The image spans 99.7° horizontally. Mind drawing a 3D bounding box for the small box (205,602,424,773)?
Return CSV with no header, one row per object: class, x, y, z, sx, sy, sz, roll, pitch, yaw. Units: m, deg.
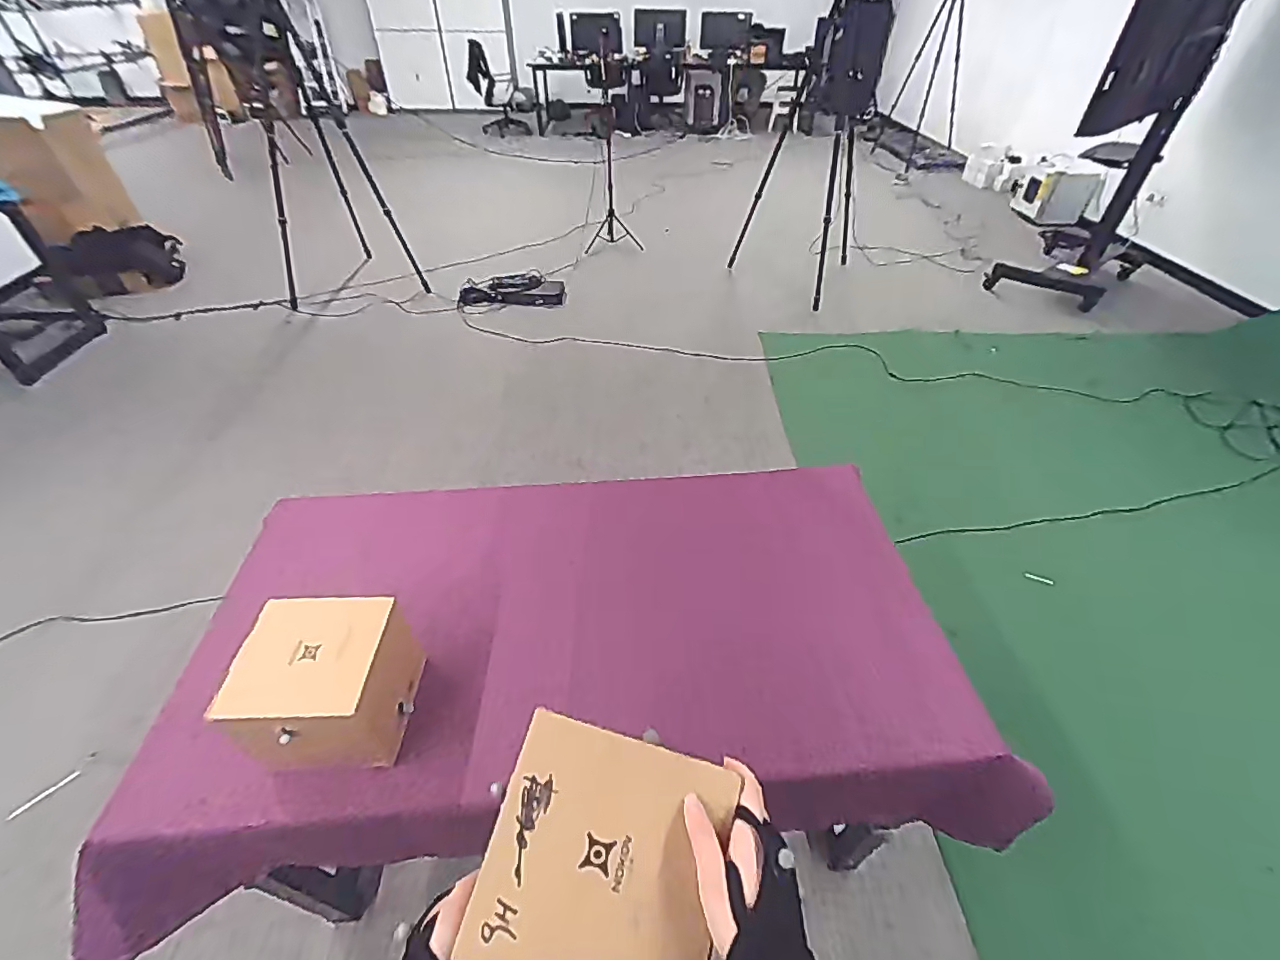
small box,-0.421,0.284,0.738,0.179,0.176,0.168,0,43,-2
